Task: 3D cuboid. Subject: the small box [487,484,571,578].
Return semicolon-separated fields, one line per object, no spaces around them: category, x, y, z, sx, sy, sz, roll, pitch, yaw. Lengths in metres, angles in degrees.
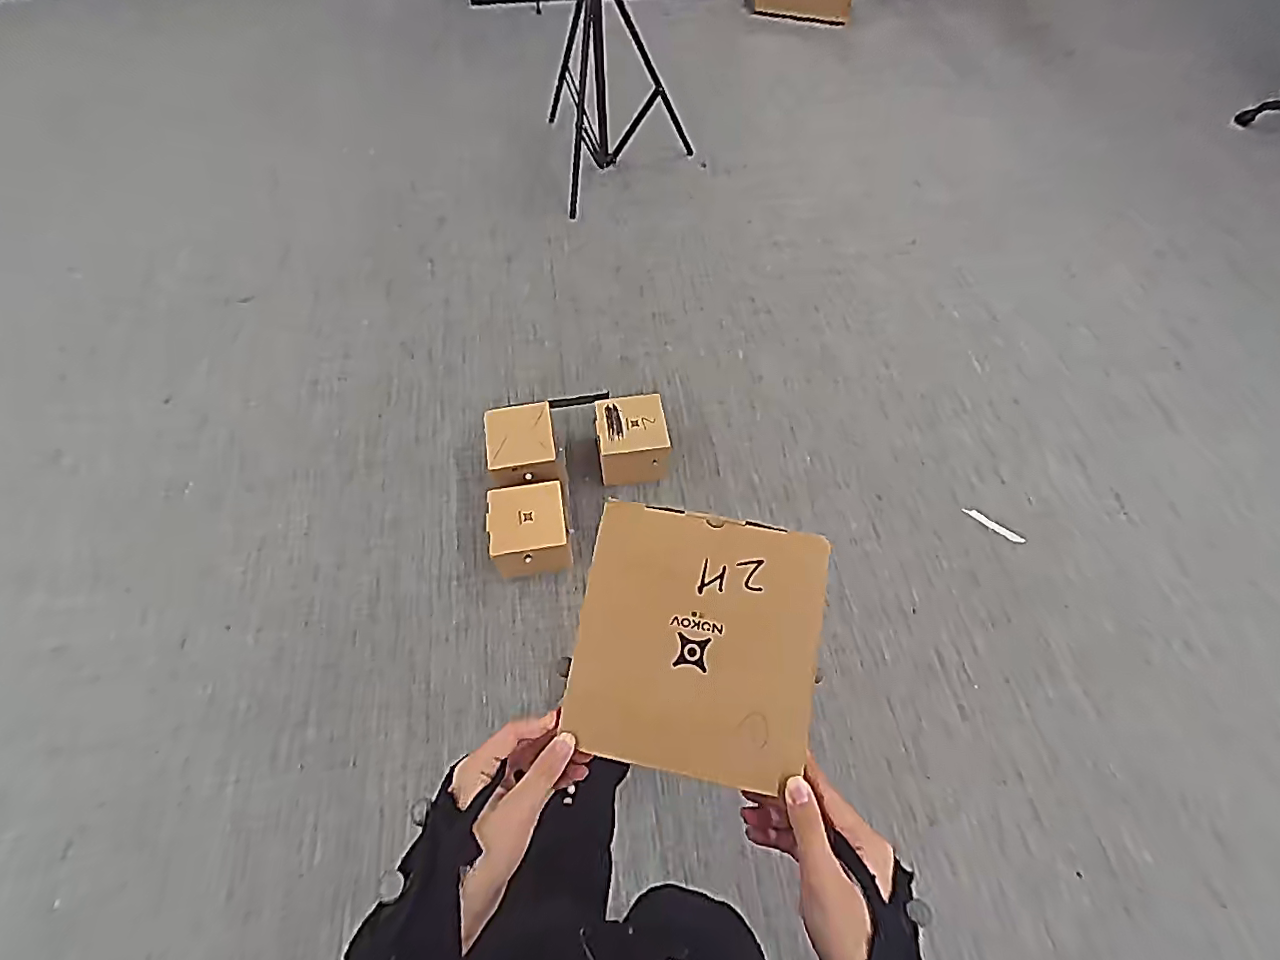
small box;-0.264;0.128;1.320;0.179;0.176;0.168;-8;63;-4

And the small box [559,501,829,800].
small box;0.045;0.129;0.456;0.168;0.176;0.179;10;78;6
